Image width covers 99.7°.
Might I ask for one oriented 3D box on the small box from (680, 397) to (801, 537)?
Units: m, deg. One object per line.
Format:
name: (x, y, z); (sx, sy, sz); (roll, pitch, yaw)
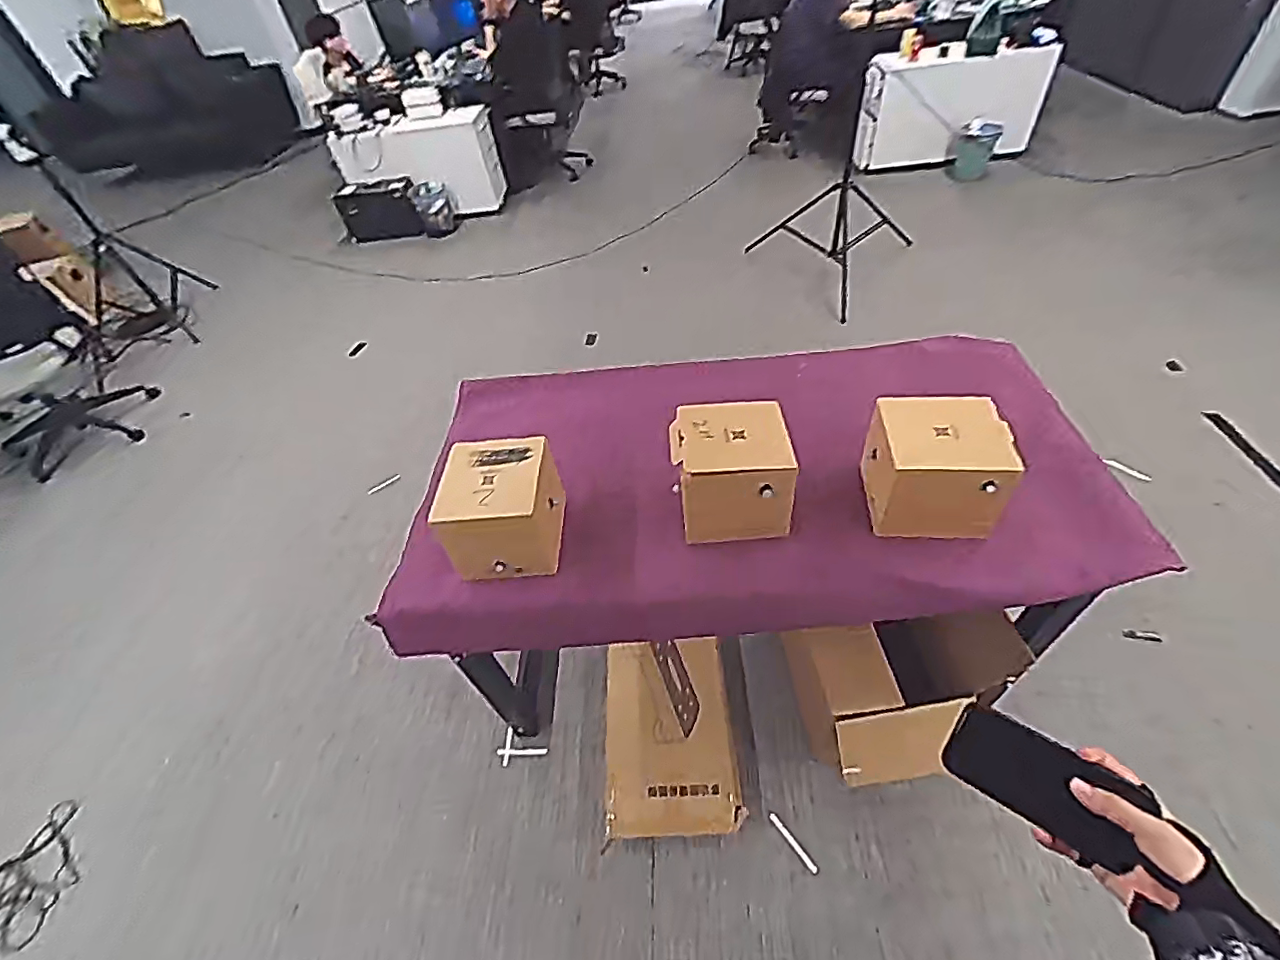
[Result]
small box: (0.161, -0.019, 0.920); (0.179, 0.176, 0.168); (-5, 45, 4)

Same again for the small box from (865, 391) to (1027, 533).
small box: (0.477, -0.027, 0.882); (0.179, 0.176, 0.168); (1, 48, 9)
